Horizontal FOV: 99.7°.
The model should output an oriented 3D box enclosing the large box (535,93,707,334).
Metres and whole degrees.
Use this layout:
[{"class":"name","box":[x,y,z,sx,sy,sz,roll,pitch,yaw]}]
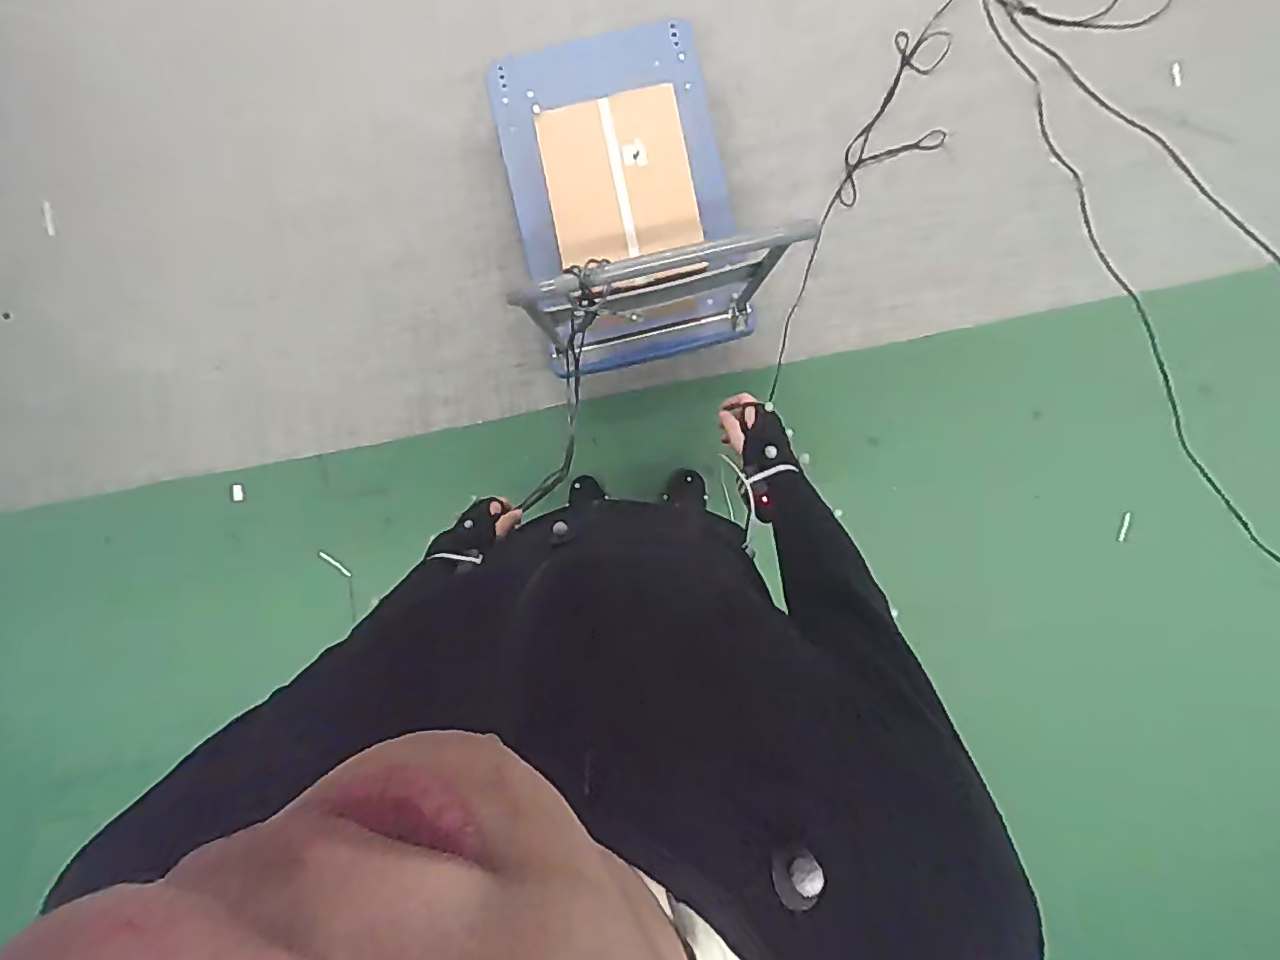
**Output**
[{"class":"large box","box":[-0.037,-0.621,1.328,0.320,0.320,0.408,-11,89,1]}]
